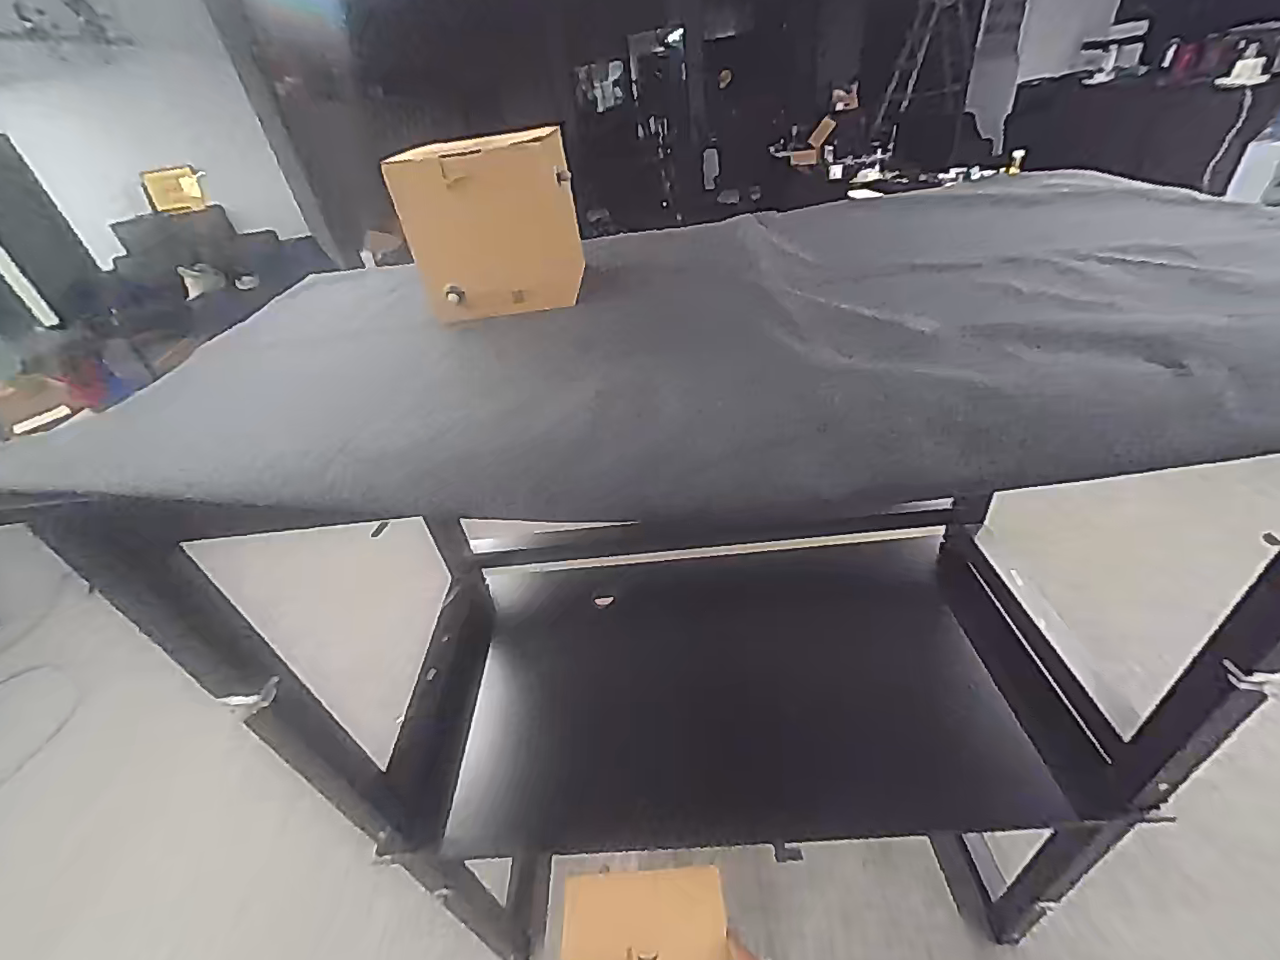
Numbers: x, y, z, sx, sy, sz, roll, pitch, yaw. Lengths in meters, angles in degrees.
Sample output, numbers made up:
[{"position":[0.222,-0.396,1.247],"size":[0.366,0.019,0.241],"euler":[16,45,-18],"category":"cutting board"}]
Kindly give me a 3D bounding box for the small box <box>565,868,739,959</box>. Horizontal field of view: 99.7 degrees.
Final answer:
[{"position":[0.022,0.543,0.585],"size":[0.179,0.176,0.168],"euler":[-8,41,5],"category":"small box"}]

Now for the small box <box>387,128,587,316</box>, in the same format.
[{"position":[-0.163,-0.304,0.648],"size":[0.168,0.176,0.179],"euler":[-6,36,4],"category":"small box"}]
